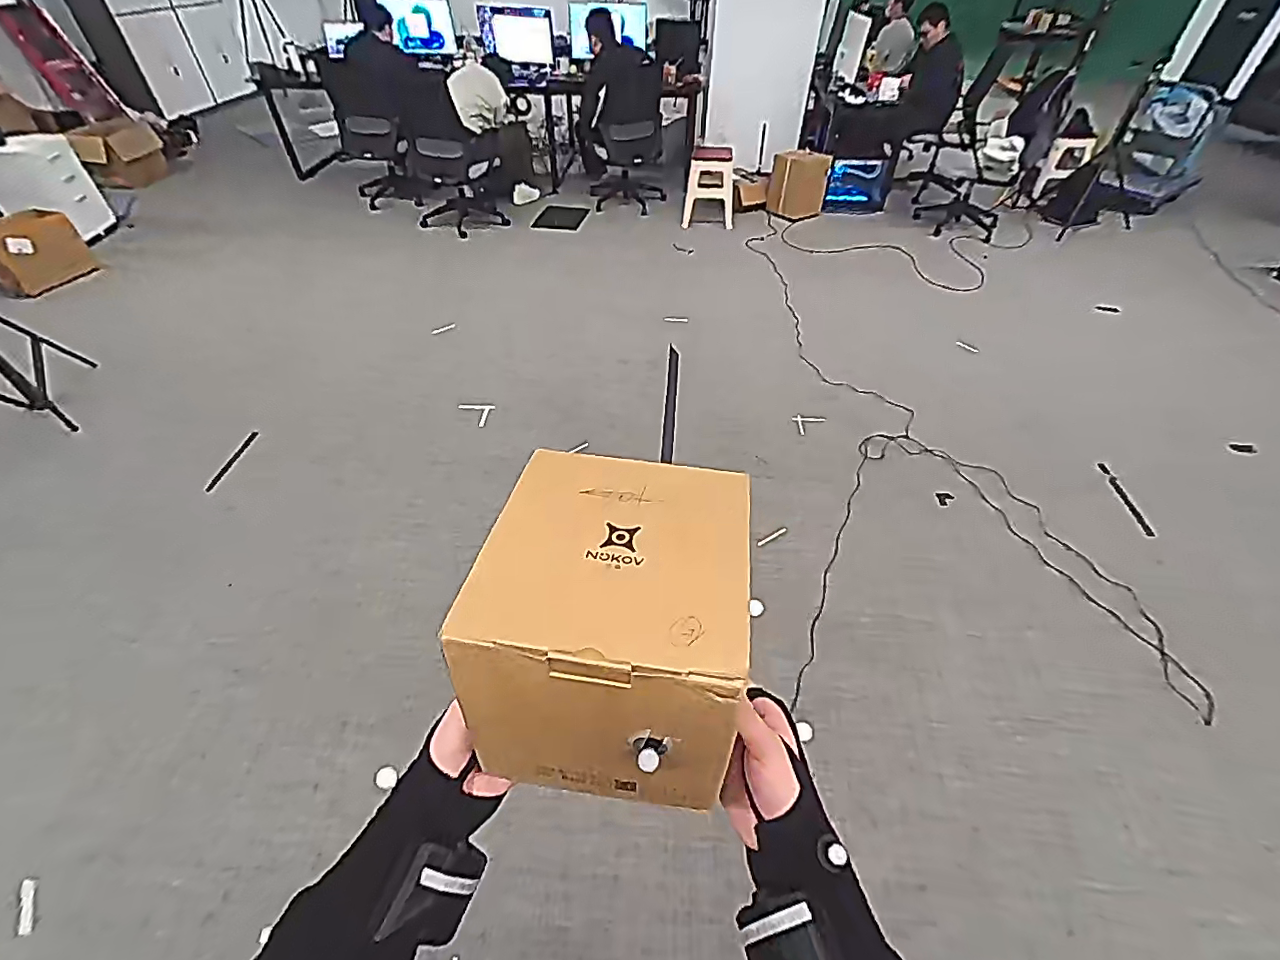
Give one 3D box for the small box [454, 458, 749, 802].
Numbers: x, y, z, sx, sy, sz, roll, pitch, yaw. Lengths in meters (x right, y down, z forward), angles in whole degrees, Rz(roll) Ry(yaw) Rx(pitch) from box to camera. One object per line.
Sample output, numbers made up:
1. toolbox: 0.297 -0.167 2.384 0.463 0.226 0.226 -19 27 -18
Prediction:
1. small box: -0.013 0.108 0.404 0.168 0.176 0.179 8 38 5
